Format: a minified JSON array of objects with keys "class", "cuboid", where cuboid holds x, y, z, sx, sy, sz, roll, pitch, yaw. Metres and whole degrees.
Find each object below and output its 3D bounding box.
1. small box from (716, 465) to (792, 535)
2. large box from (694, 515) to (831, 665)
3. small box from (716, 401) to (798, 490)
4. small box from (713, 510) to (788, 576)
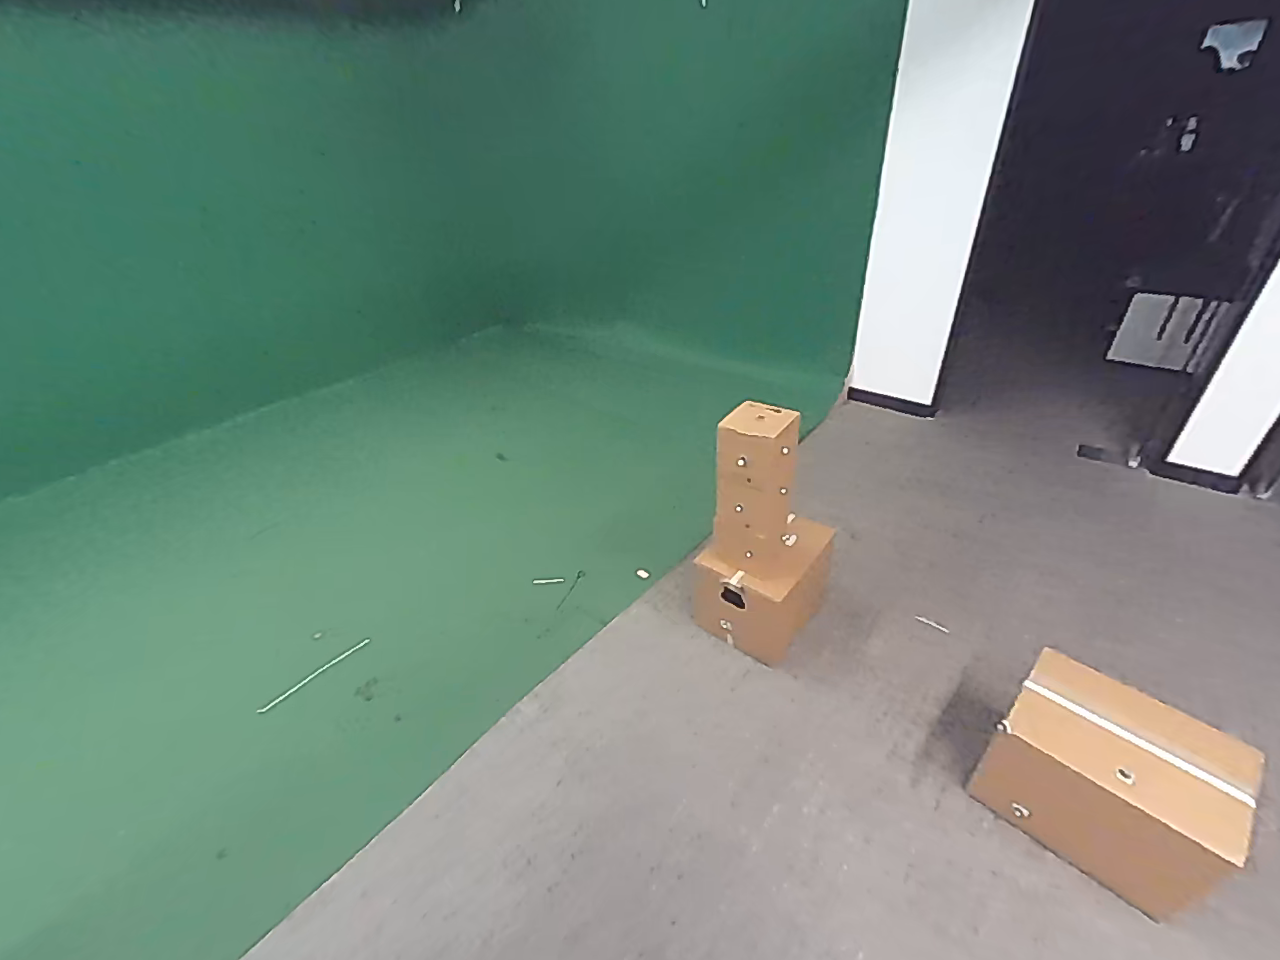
[{"class":"small box","cuboid":[0.339,0.038,1.612,0.168,0.176,0.179,19,40,30]},{"class":"large box","cuboid":[0.420,0.348,1.871,0.320,0.320,0.408,23,42,34]},{"class":"small box","cuboid":[0.329,-0.096,1.517,0.168,0.176,0.179,20,42,32]},{"class":"small box","cuboid":[0.346,0.176,1.700,0.179,0.176,0.168,21,42,34]}]
